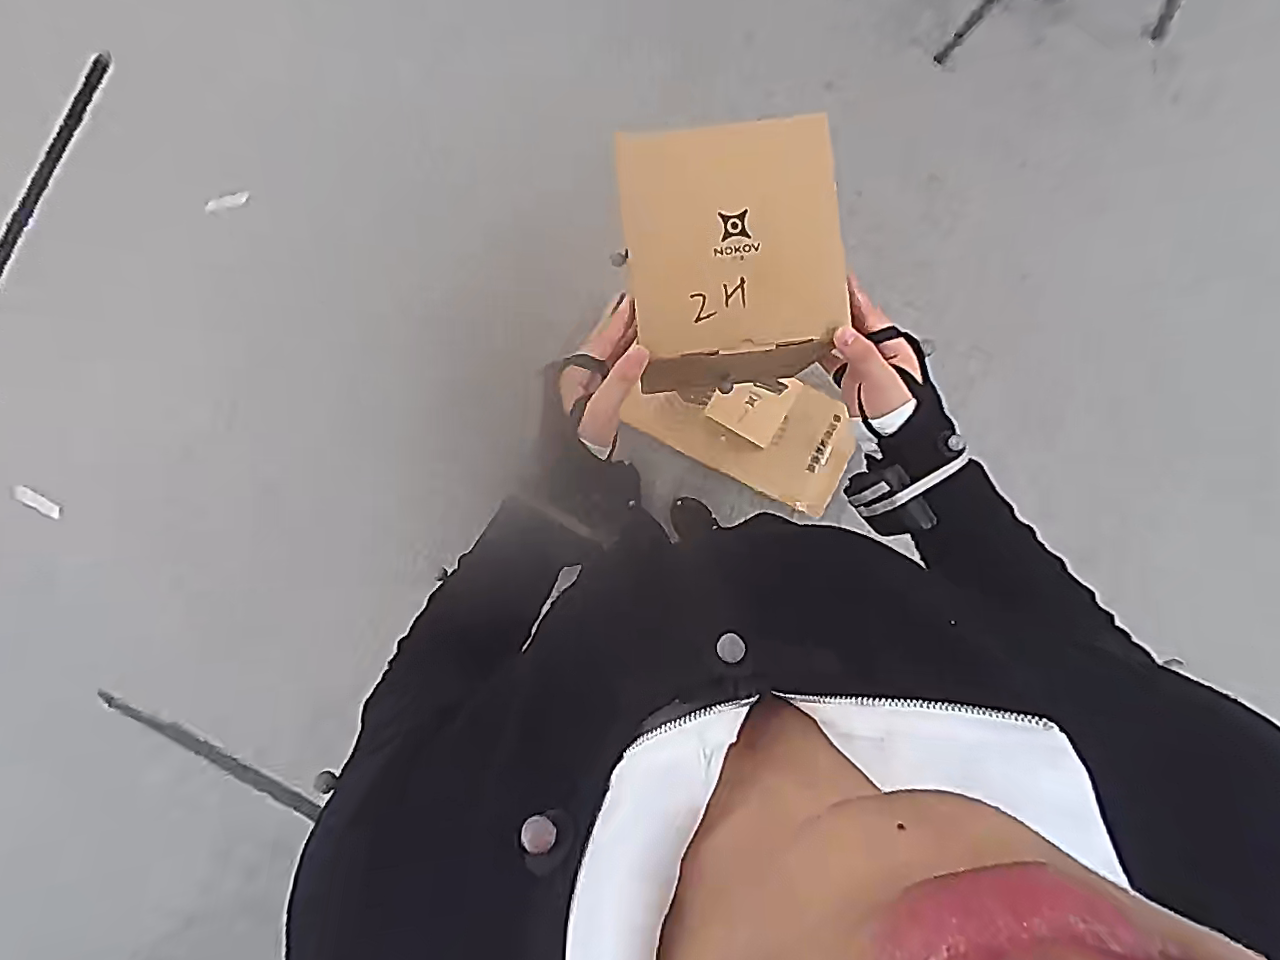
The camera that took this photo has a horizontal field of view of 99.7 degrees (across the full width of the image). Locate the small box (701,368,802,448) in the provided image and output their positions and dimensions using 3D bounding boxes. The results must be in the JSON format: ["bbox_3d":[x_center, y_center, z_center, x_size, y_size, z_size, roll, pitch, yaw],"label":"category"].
[{"bbox_3d":[0.259,-0.194,1.310,0.168,0.176,0.179,31,91,2],"label":"small box"}]

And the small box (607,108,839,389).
[{"bbox_3d":[0.063,-0.192,0.497,0.168,0.176,0.179,-8,91,1],"label":"small box"}]
